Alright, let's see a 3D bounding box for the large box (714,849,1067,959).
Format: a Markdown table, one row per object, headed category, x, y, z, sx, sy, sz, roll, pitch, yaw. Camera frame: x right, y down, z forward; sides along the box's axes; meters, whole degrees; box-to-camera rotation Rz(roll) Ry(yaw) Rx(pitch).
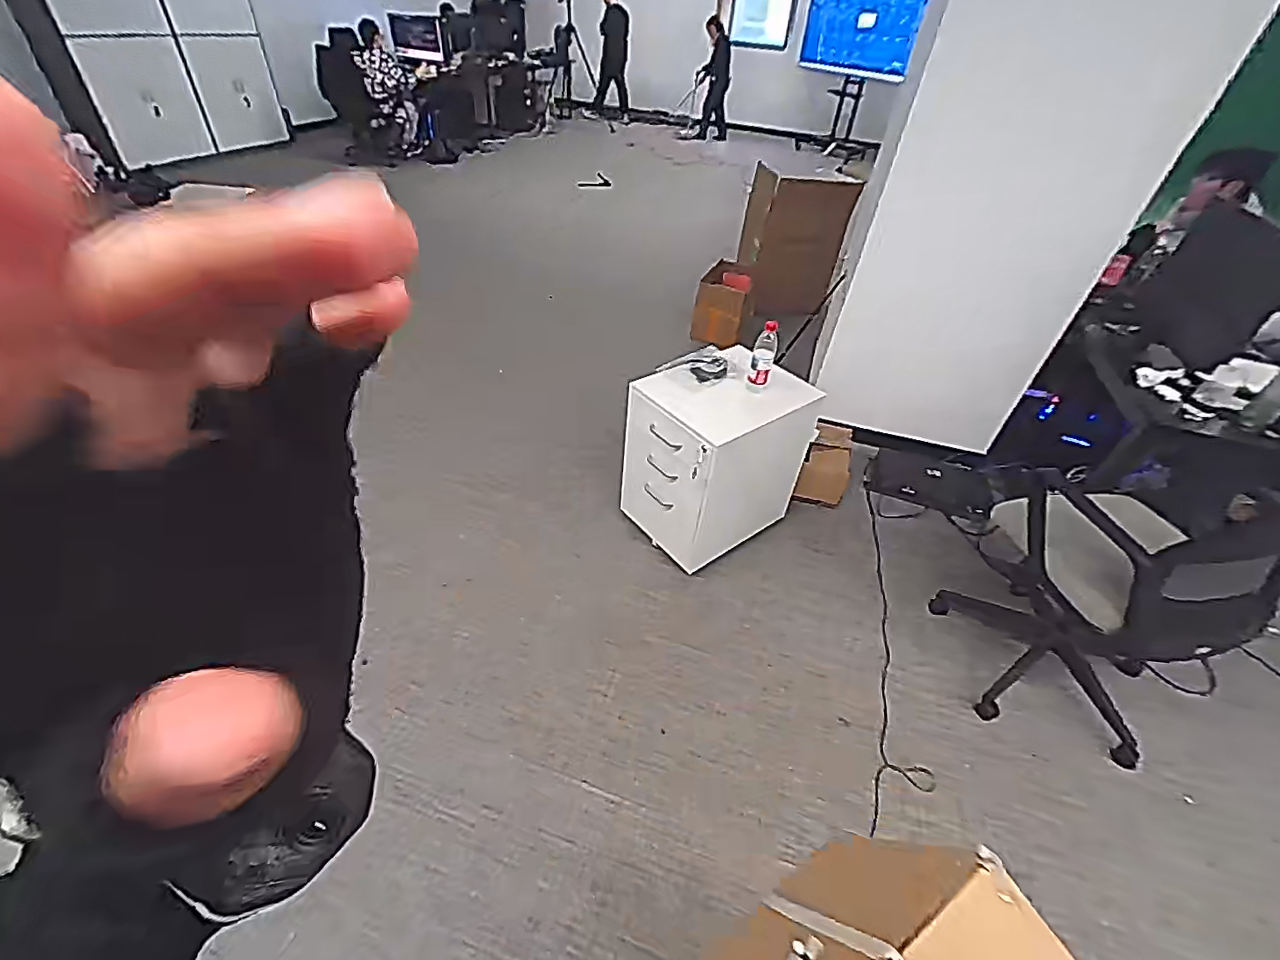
| category | x | y | z | sx | sy | sz | roll | pitch | yaw |
| --- | --- | --- | --- | --- | --- | --- | --- | --- | --- |
| large box | 0.308 | 0.682 | 0.616 | 0.320 | 0.408 | 0.320 | -27 | 65 | -19 |
